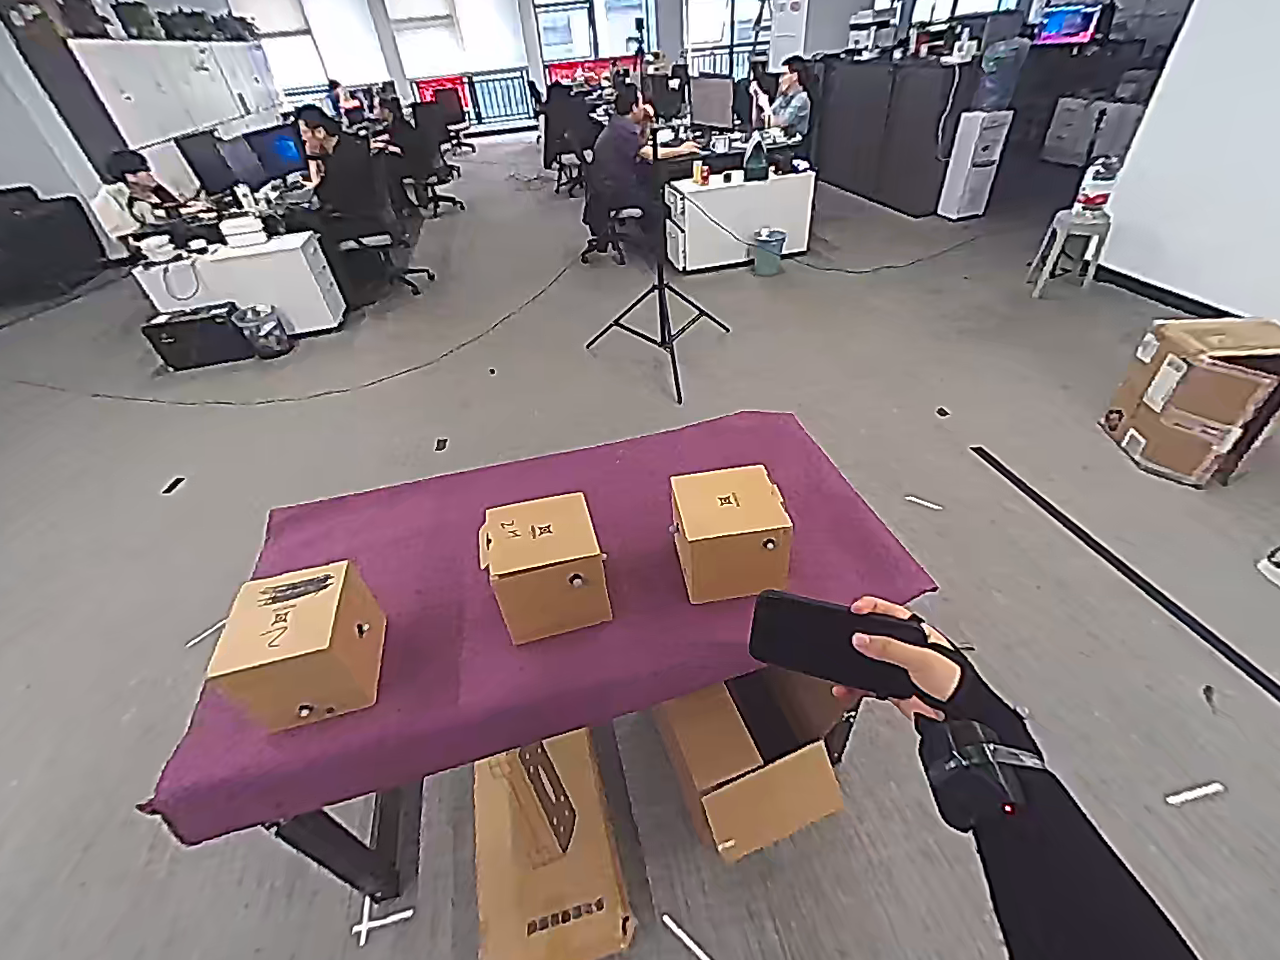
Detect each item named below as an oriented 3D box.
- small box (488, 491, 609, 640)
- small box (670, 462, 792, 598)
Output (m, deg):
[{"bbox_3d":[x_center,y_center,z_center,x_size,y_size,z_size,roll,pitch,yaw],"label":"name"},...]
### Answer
[{"bbox_3d":[-0.155,0.149,0.941,0.179,0.176,0.168,-13,38,-9],"label":"small box"},{"bbox_3d":[0.157,0.093,0.972,0.179,0.176,0.168,-8,40,-3],"label":"small box"}]
